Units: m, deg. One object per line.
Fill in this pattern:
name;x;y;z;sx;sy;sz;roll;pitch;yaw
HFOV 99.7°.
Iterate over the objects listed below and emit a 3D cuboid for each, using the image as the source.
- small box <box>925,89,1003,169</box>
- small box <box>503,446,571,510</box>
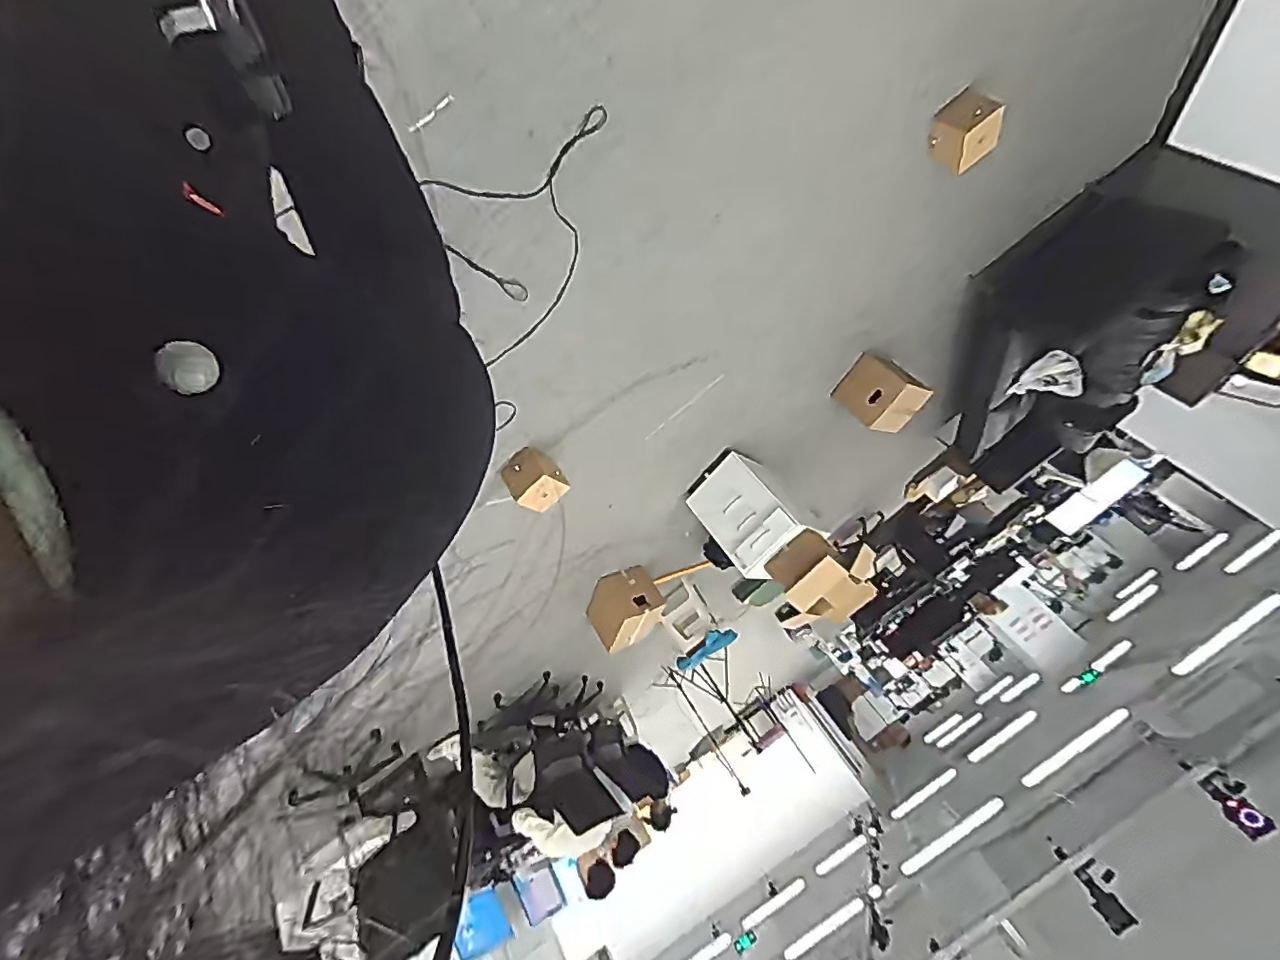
small box;1.223;-1.335;2.051;0.179;0.176;0.168;-37;148;3
small box;-0.414;-0.011;2.163;0.168;0.176;0.179;-43;148;11
